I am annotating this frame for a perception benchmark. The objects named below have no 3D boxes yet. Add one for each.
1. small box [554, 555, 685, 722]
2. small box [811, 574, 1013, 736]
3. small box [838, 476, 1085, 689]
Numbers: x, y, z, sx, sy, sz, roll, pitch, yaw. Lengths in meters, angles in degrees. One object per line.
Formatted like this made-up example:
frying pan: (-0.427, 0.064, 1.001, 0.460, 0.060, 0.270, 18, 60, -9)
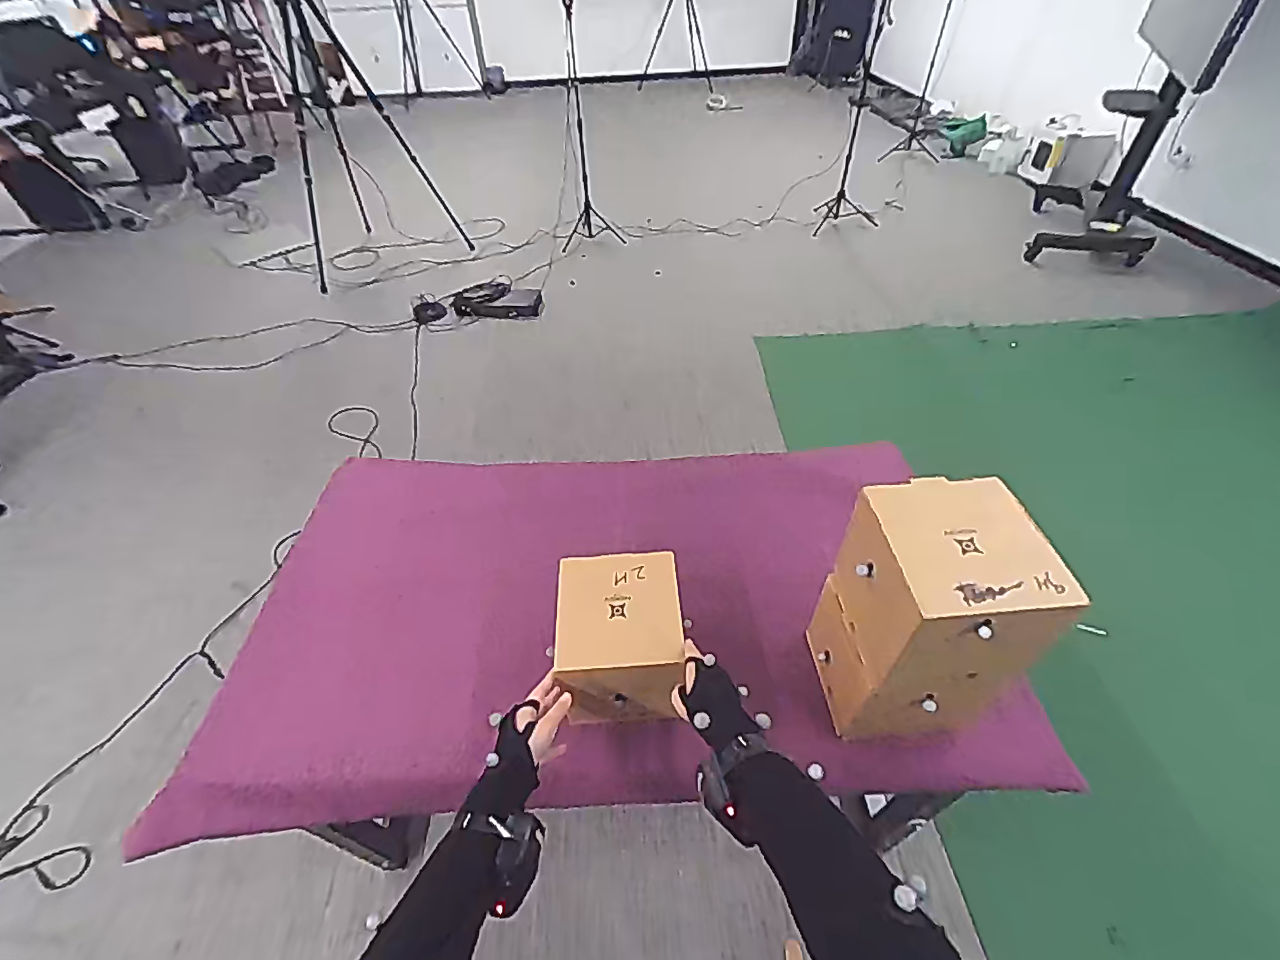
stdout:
small box: (-0.024, 0.233, 0.780, 0.168, 0.176, 0.179, -4, 44, 0)
small box: (0.355, 0.237, 0.748, 0.179, 0.176, 0.168, -6, 46, 0)
small box: (0.347, 0.120, 0.633, 0.168, 0.176, 0.179, -6, 45, 1)
